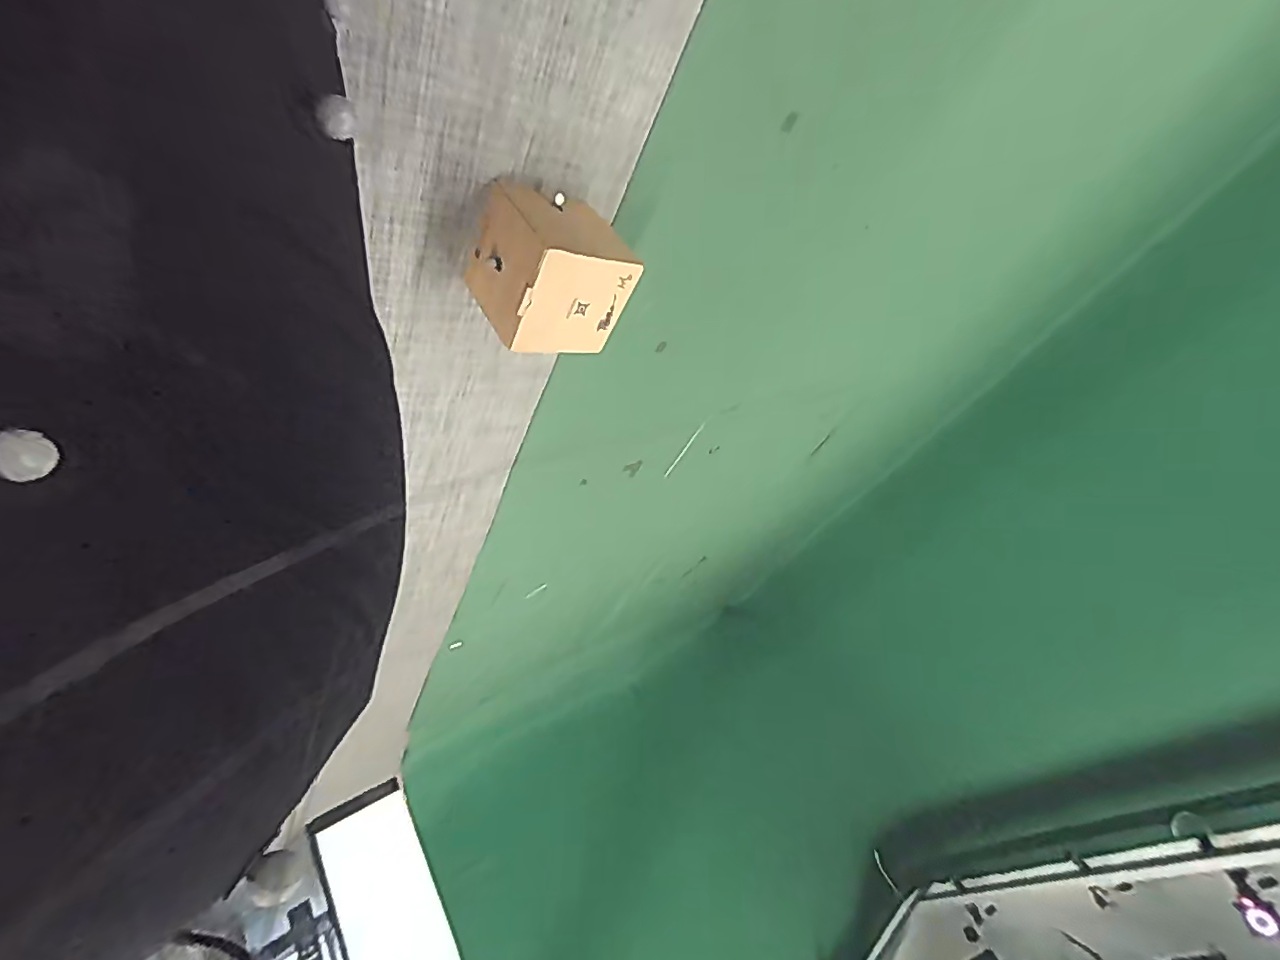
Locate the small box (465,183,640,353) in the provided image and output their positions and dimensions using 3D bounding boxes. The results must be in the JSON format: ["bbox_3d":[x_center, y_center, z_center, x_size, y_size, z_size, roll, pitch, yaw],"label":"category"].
[{"bbox_3d":[-0.140,-0.314,0.814,0.179,0.176,0.168,-10,147,-43],"label":"small box"}]
